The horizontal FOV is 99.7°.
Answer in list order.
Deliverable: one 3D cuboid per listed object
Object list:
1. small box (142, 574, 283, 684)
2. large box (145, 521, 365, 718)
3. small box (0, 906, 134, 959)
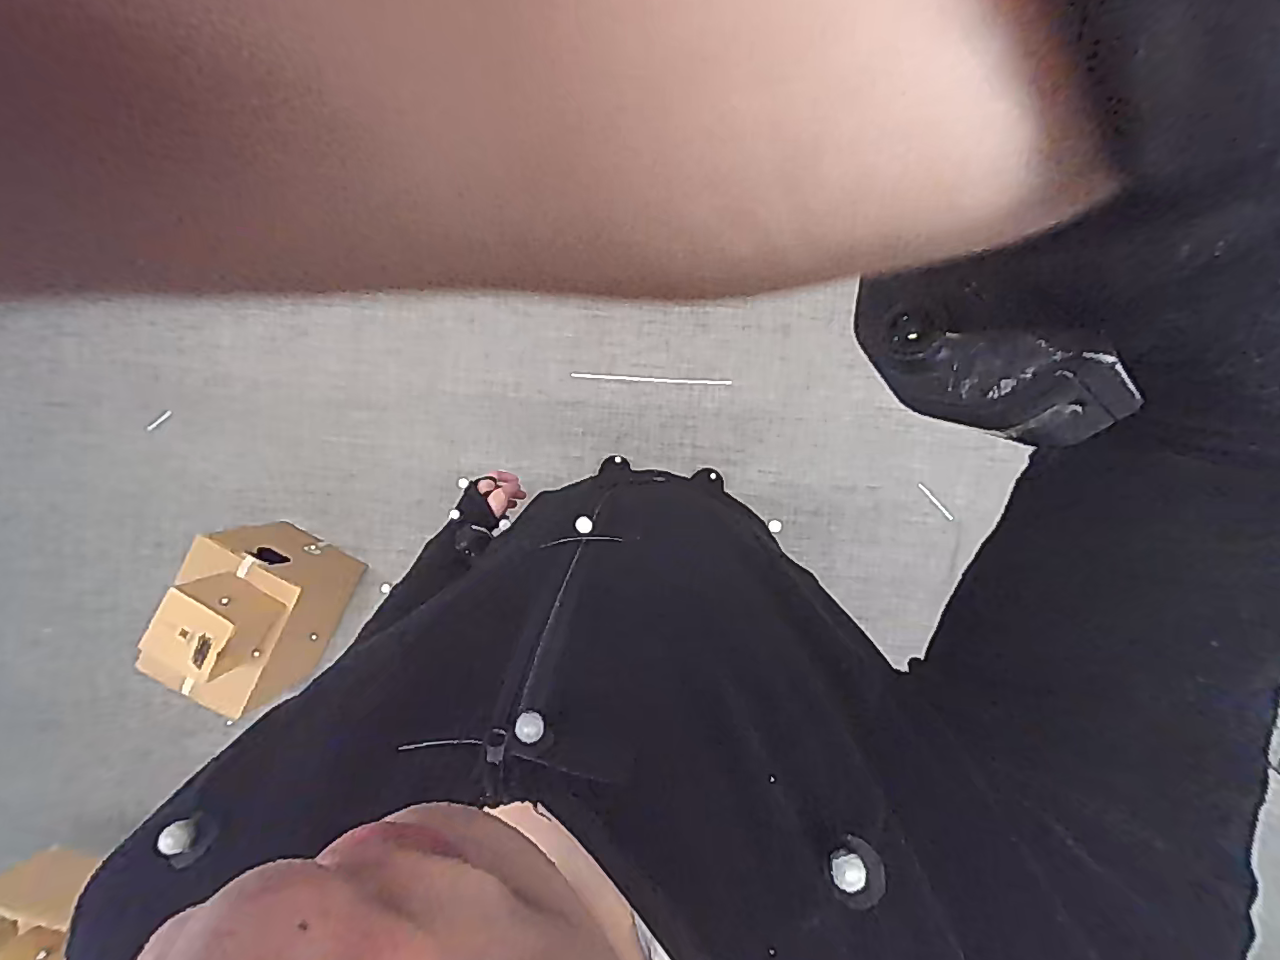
[{"bbox_3d":[-1.018,0.348,1.305,0.179,0.176,0.168,31,93,0],"label":"small box"},{"bbox_3d":[-1.078,0.375,1.555,0.320,0.320,0.408,27,94,2],"label":"large box"},{"bbox_3d":[-1.338,1.134,1.244,0.179,0.176,0.168,12,93,1],"label":"small box"}]
